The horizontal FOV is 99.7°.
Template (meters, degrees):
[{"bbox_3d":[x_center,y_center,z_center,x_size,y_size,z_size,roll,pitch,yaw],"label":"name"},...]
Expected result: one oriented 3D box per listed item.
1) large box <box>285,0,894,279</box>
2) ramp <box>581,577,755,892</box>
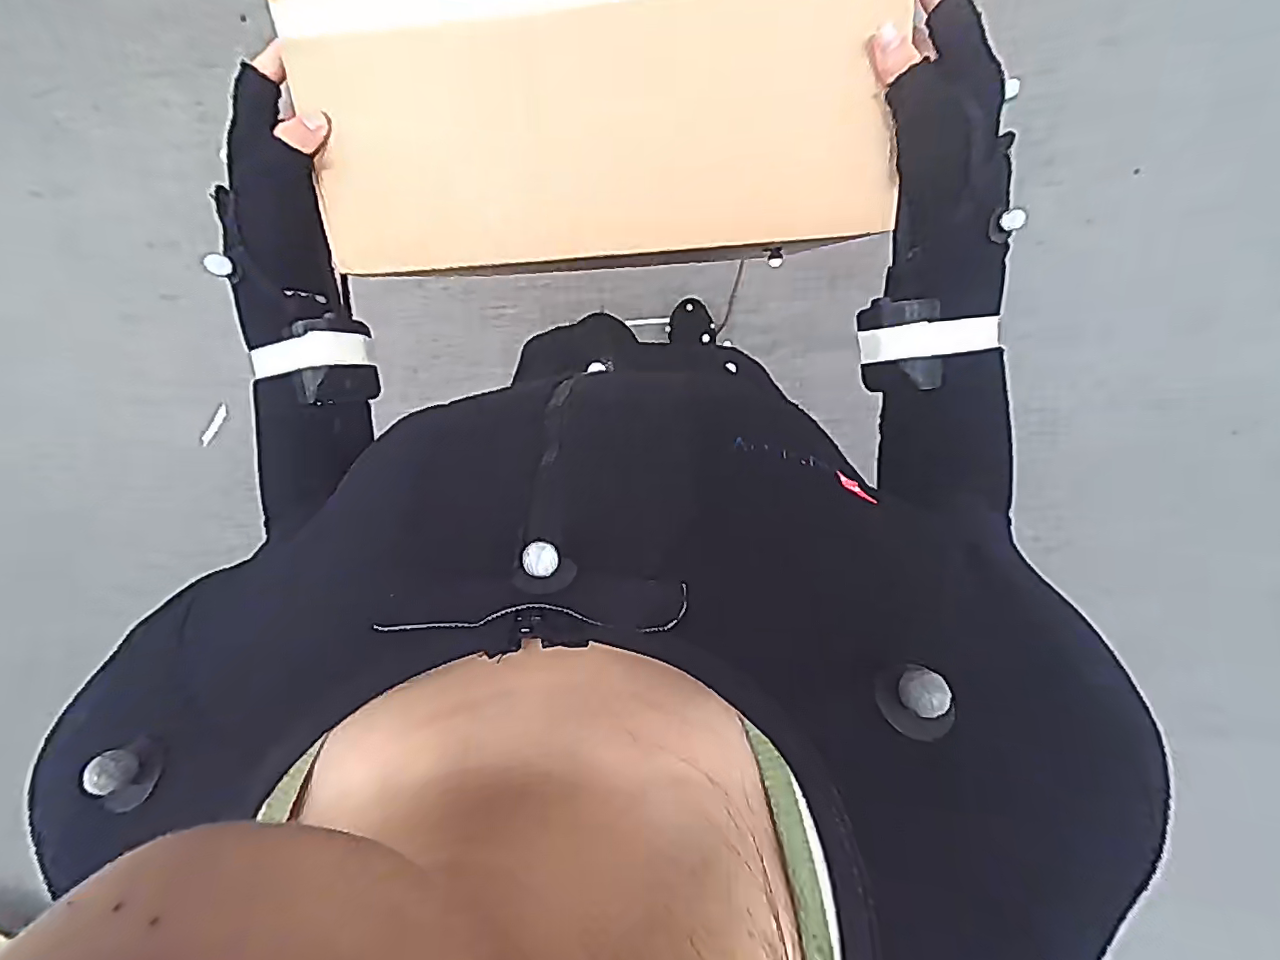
[{"bbox_3d":[-0.028,-0.363,0.489,0.408,0.320,0.320,-3,109,4],"label":"large box"},{"bbox_3d":[0.087,0.787,1.648,0.509,0.206,0.991,-4,106,7],"label":"ramp"}]
